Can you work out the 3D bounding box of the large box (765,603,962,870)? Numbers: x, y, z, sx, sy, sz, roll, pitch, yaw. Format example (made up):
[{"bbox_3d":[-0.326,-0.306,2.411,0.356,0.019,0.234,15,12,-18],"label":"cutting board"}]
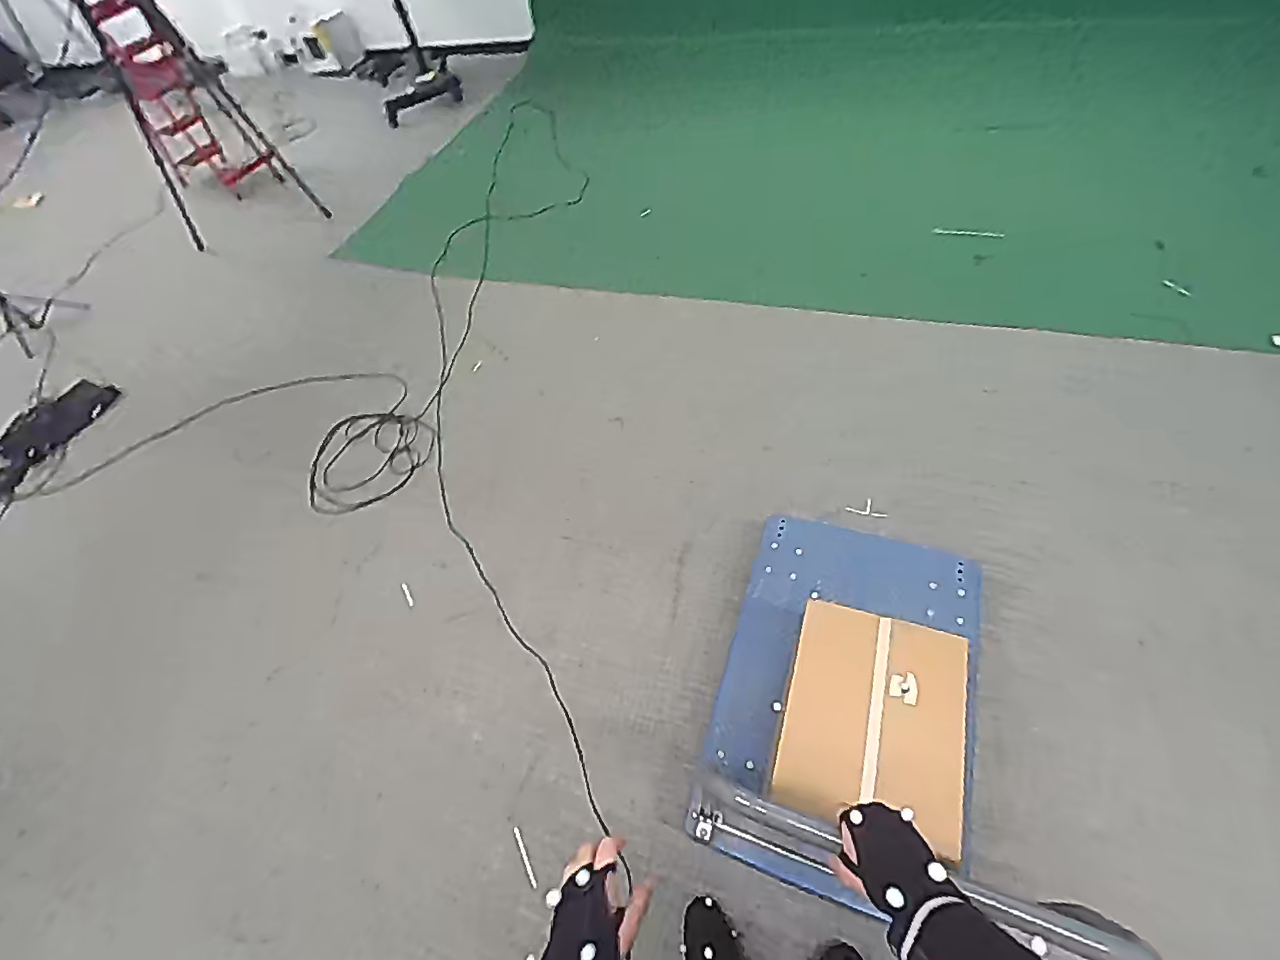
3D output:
[{"bbox_3d":[0.458,0.537,1.141,0.320,0.320,0.408,12,57,17],"label":"large box"}]
